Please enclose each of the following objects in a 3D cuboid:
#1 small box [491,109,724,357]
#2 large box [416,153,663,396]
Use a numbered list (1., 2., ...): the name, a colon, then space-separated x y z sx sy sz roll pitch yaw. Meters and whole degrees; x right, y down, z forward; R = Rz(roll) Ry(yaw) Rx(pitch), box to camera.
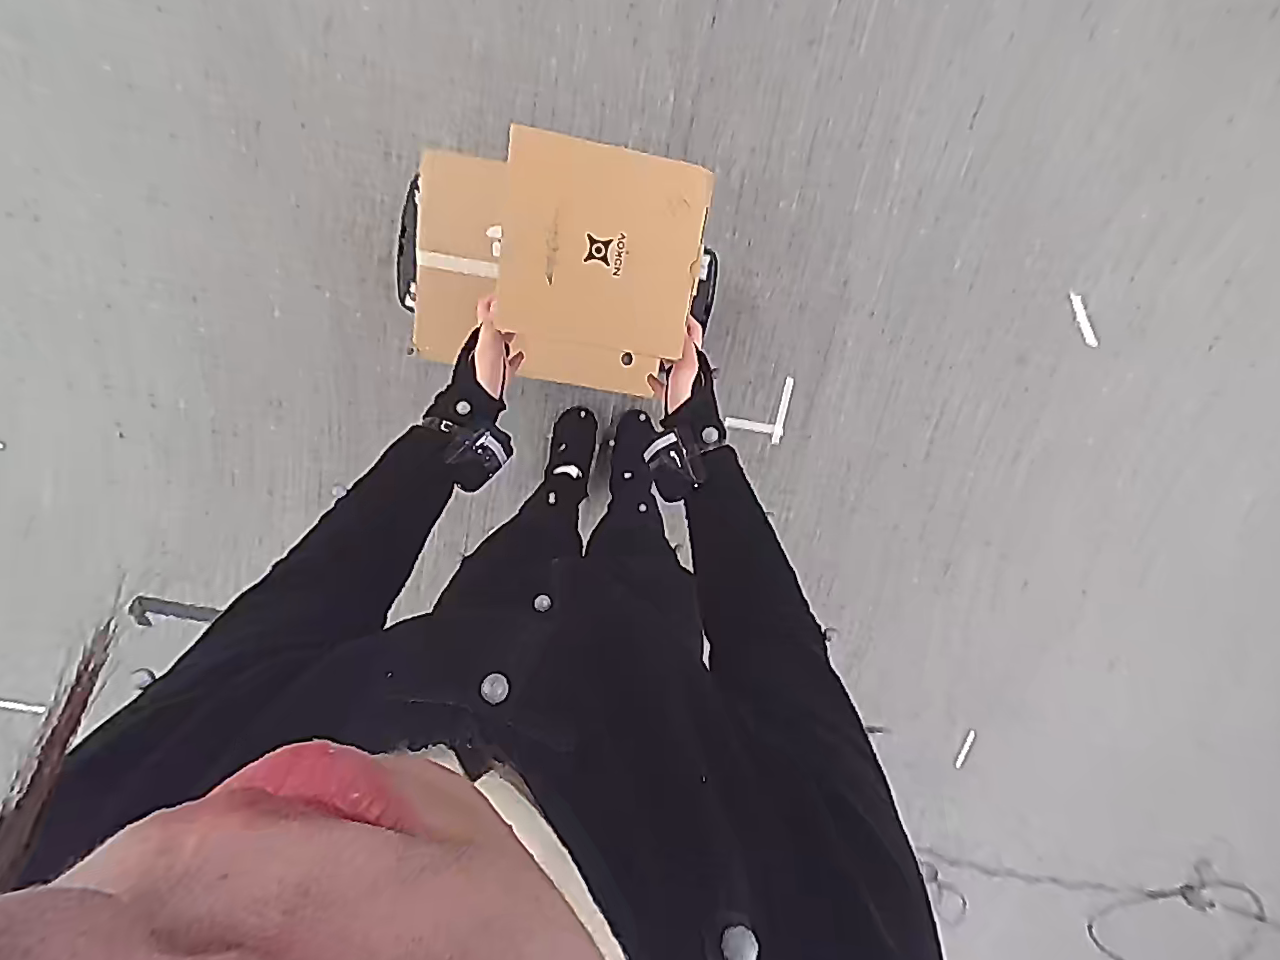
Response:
1. small box: -0.038 -0.224 0.530 0.179 0.176 0.168 8 105 -9
2. large box: -0.147 -0.354 0.995 0.408 0.320 0.320 9 105 -3
